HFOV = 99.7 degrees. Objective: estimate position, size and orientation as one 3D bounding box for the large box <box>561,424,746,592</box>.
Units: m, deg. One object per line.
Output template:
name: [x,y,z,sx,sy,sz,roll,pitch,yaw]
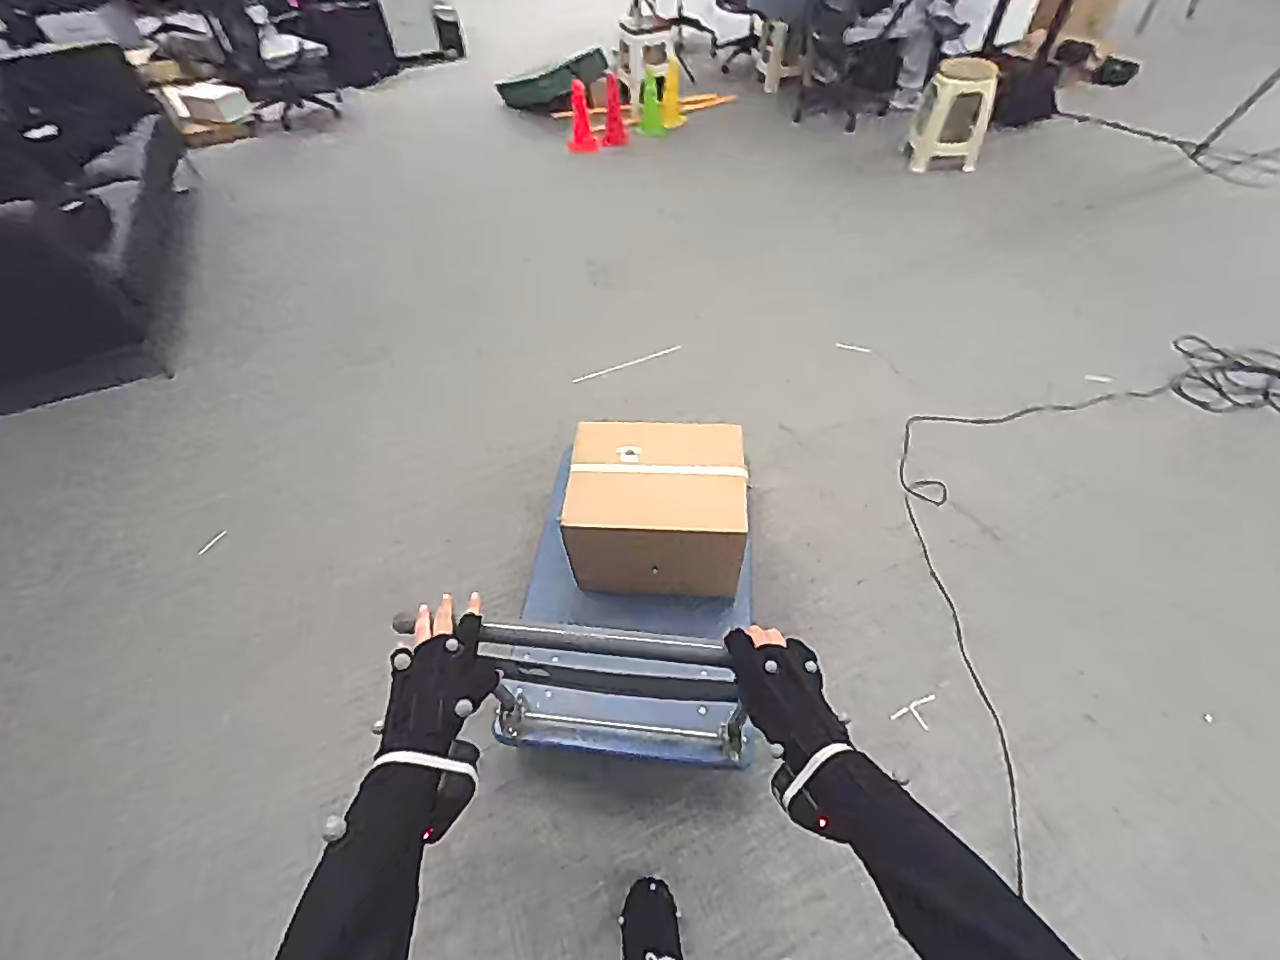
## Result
large box: [0.047,0.076,1.360,0.408,0.320,0.320,1,52,6]
